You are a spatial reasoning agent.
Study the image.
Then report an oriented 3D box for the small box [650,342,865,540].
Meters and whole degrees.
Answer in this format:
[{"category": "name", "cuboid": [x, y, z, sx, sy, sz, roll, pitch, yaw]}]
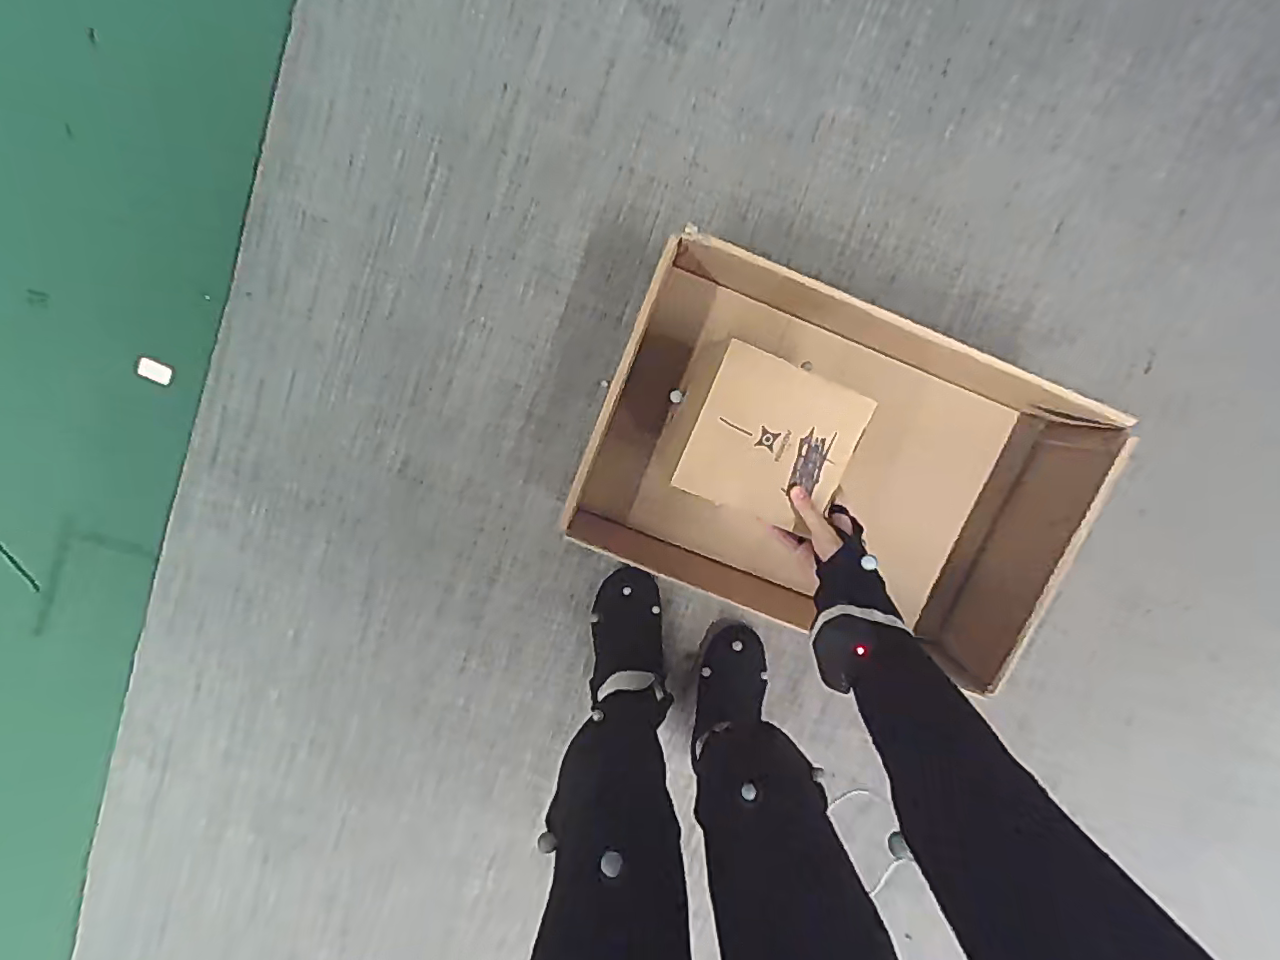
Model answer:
[{"category": "small box", "cuboid": [0.124, -0.055, 0.648, 0.179, 0.176, 0.168, 22, 100, -7]}]
